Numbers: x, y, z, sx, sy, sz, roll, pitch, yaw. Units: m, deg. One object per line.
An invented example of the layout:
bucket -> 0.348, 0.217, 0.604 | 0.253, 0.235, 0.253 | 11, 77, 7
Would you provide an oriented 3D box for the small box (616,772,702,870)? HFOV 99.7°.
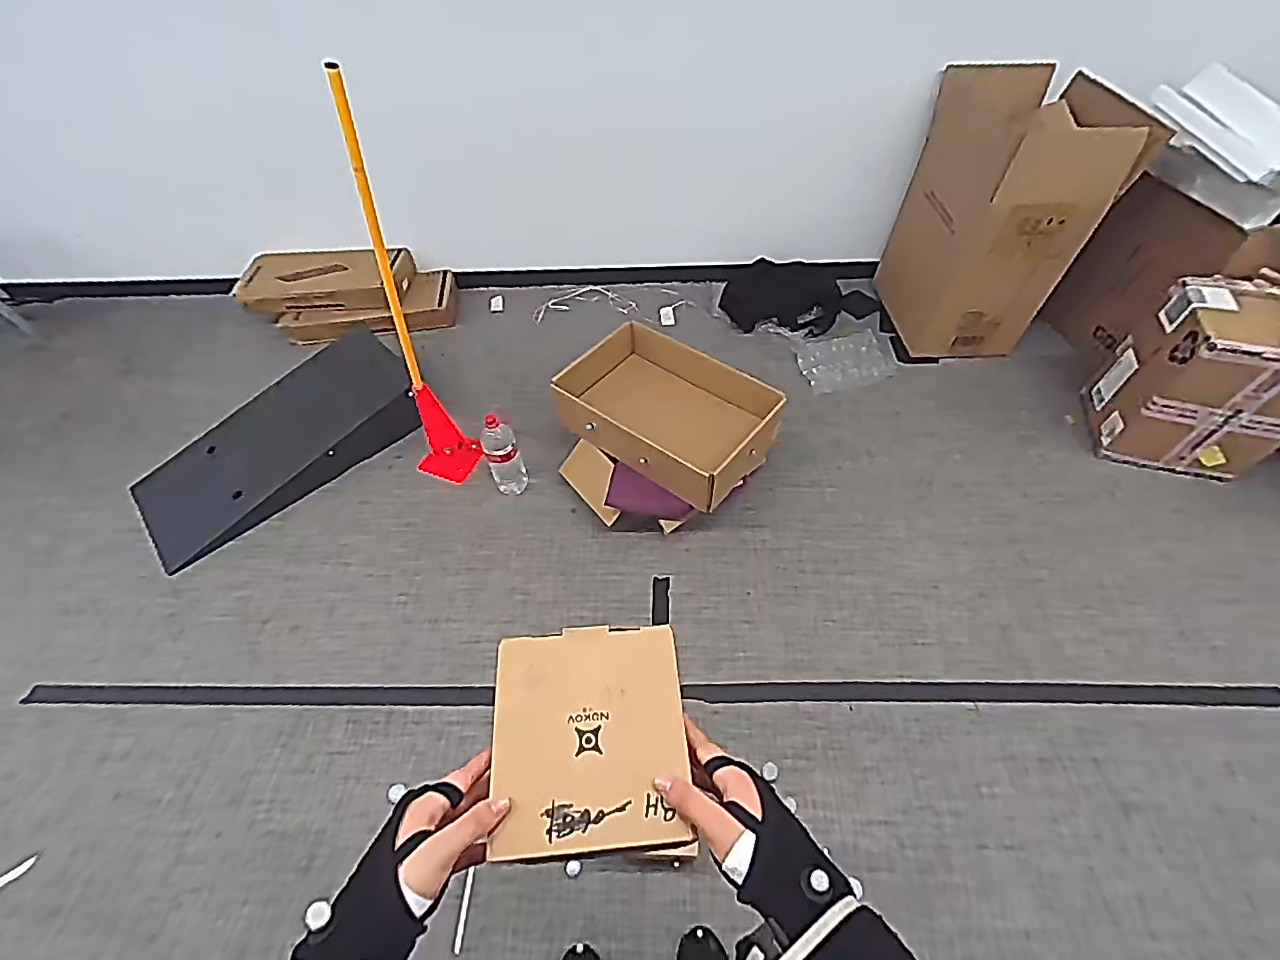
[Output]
small box -> 0.043, 0.755, 1.195 | 0.179, 0.176, 0.168 | -1, 51, 3
